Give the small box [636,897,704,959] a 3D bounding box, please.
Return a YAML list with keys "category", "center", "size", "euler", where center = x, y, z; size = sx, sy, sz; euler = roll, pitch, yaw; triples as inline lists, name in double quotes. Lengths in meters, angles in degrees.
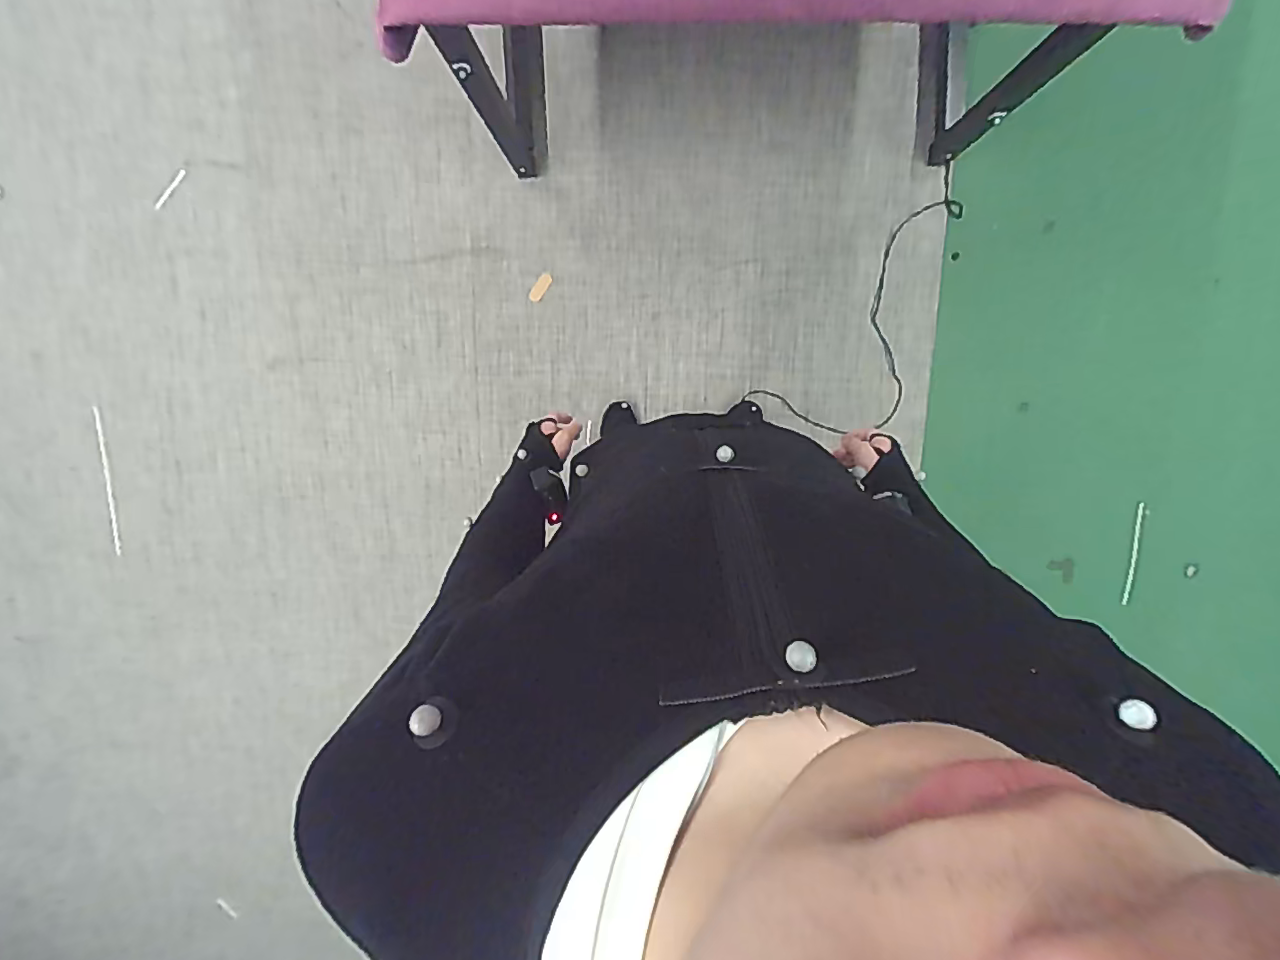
- category: "small box"
  center: [0.082, 1.372, 1.582]
  size: [0.179, 0.176, 0.168]
  euler: [9, 99, 0]
